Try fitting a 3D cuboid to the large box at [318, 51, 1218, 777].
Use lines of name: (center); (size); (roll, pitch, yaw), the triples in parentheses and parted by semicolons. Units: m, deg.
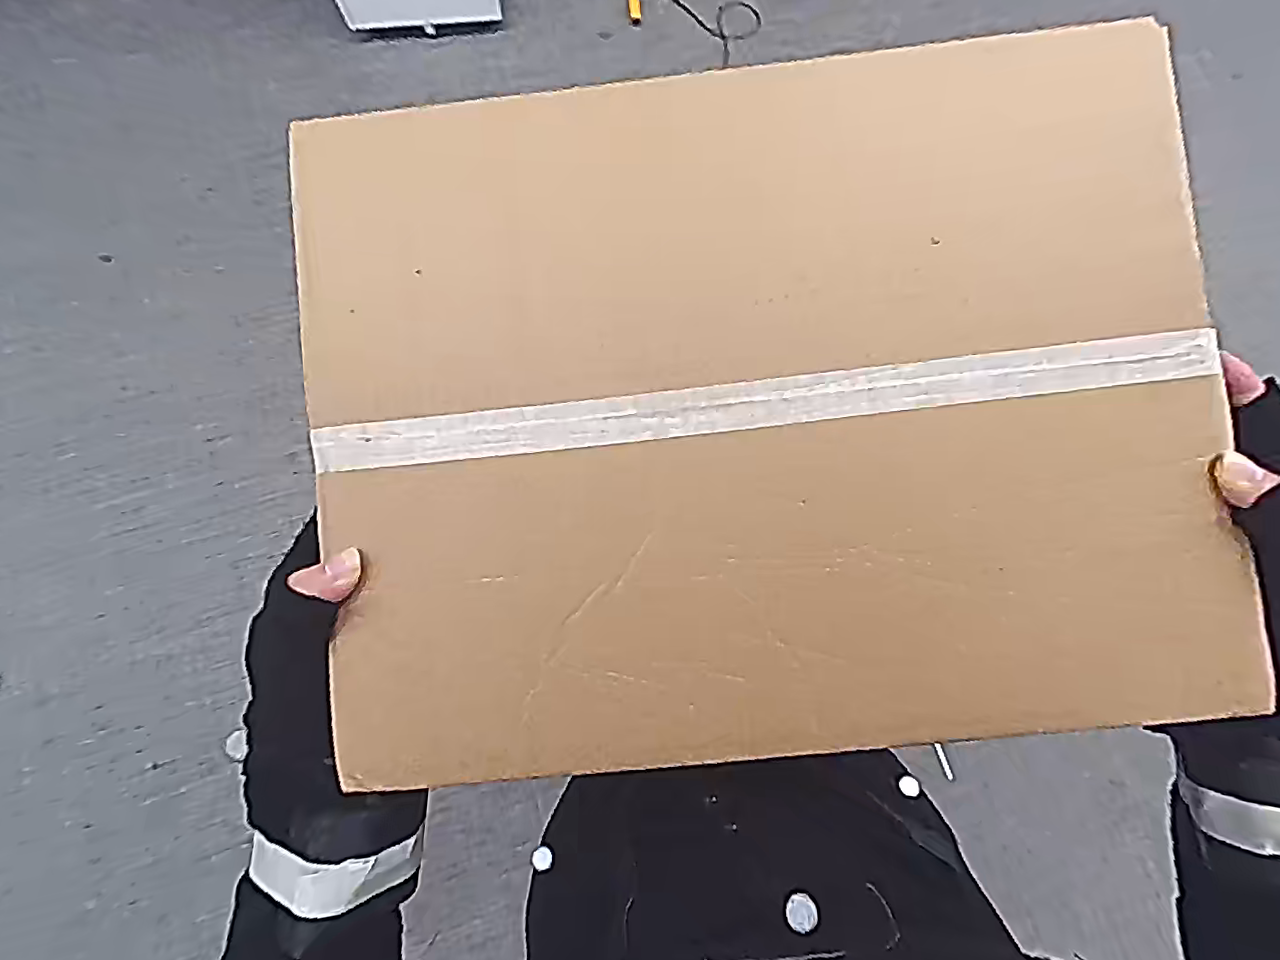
large box: (0.057, -0.026, 0.406); (0.408, 0.320, 0.320); (-6, 86, 2)
